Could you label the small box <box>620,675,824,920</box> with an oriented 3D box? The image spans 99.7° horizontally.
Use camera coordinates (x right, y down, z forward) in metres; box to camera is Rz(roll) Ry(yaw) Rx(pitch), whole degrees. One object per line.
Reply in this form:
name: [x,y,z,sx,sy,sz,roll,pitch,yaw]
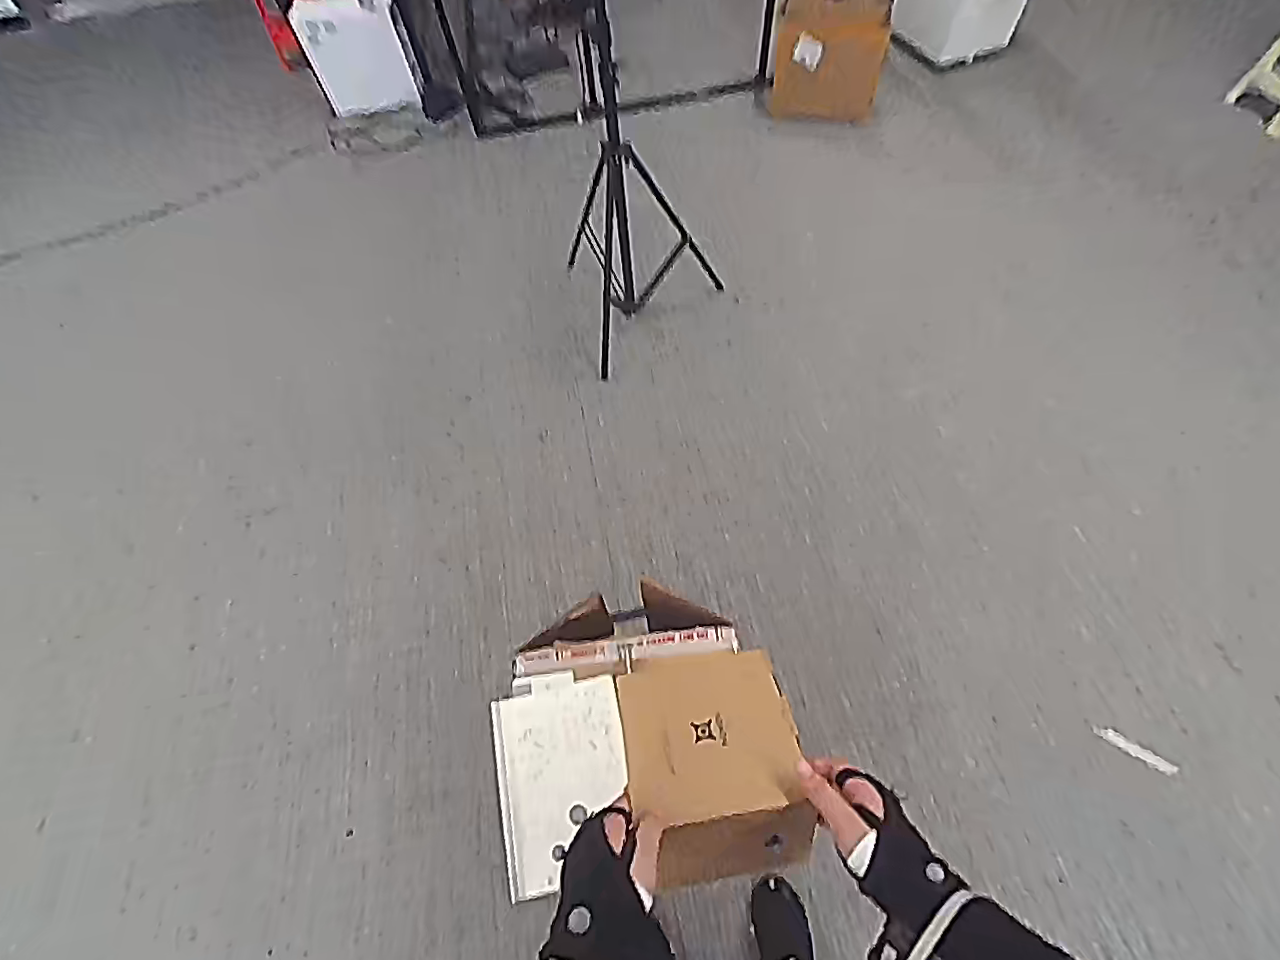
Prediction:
small box: [0.082,0.346,0.594,0.179,0.176,0.168,-11,37,-1]
